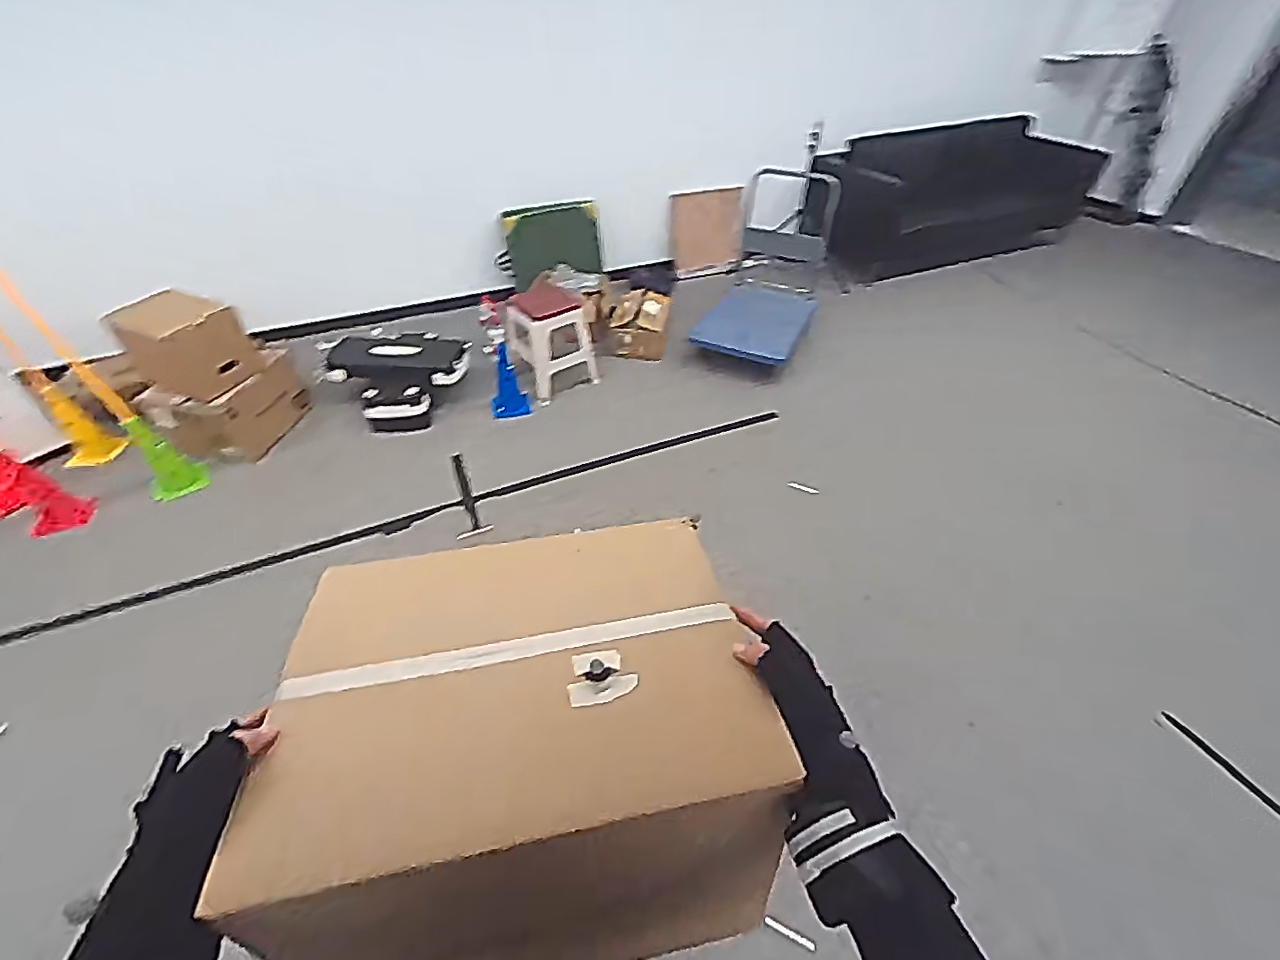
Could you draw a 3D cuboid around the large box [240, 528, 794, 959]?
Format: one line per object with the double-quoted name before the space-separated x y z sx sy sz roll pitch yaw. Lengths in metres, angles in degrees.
"large box" -0.100 0.289 0.588 0.408 0.320 0.320 -7 35 -9
